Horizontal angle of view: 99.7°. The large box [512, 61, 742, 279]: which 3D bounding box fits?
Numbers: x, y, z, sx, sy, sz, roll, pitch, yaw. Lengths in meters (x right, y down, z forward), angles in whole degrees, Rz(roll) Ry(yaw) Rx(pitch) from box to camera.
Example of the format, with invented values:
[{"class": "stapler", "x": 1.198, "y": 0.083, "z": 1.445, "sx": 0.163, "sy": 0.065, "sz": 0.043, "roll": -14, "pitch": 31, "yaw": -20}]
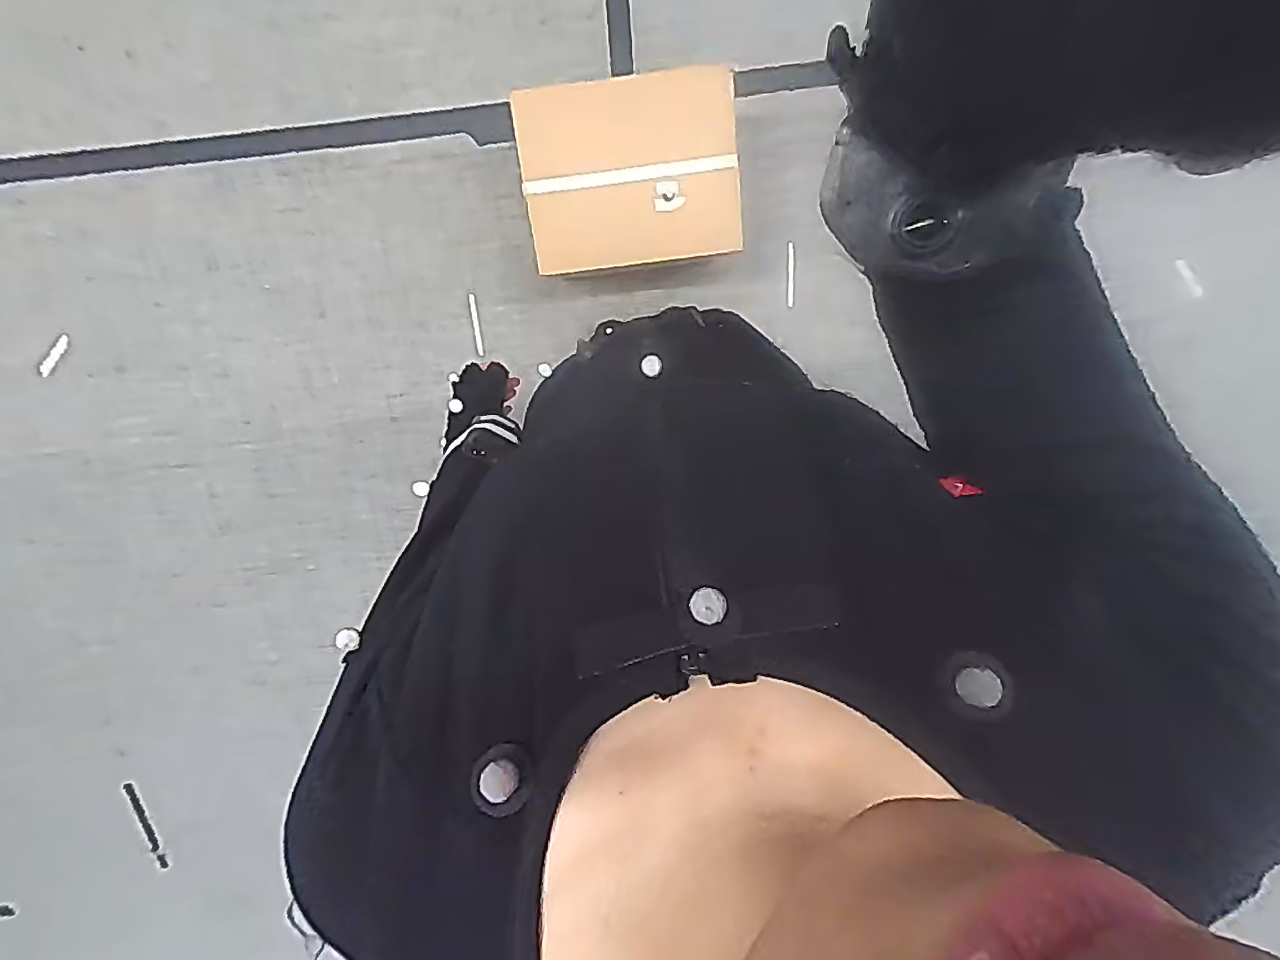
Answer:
[{"class": "large box", "x": -0.022, "y": -0.622, "z": 1.151, "sx": 0.408, "sy": 0.320, "sz": 0.320, "roll": -7, "pitch": 109, "yaw": 0}]
